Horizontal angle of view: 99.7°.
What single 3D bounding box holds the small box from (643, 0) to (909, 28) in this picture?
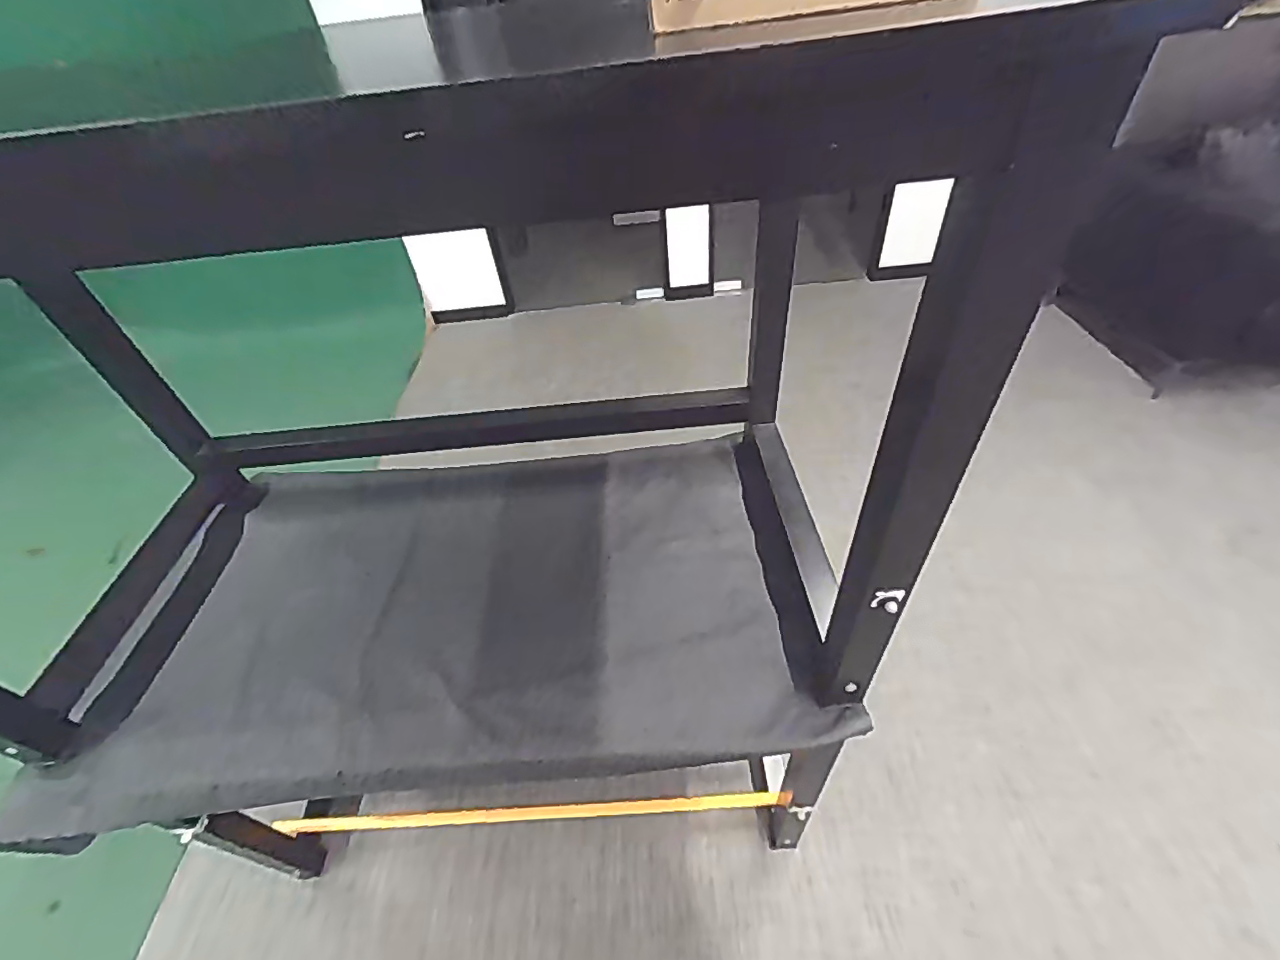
[{"bbox_3d":[0.079,-0.359,0.287,0.168,0.176,0.179,-3,43,5],"label":"small box"}]
